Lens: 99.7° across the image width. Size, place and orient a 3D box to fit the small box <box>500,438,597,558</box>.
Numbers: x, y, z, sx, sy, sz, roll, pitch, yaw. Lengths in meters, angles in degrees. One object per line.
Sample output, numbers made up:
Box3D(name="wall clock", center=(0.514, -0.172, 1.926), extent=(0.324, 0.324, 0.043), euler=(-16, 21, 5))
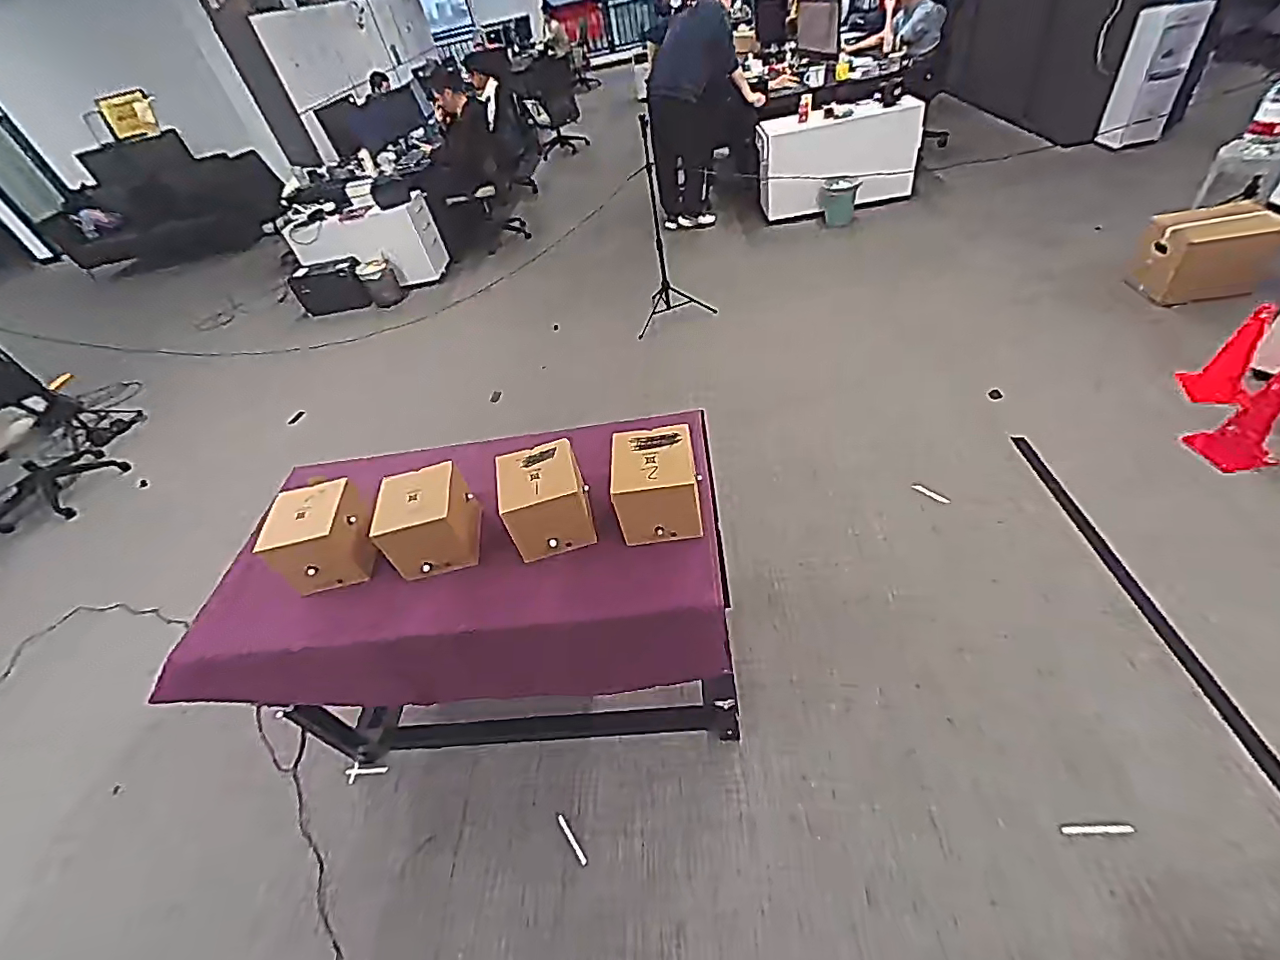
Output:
Box3D(name="small box", center=(-0.199, 0.040, 1.186), extent=(0.168, 0.176, 0.179), euler=(-16, 45, -2))

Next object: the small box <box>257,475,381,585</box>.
Box3D(name="small box", center=(-0.712, 0.120, 1.230), extent=(0.168, 0.176, 0.179), euler=(-12, 44, 1))

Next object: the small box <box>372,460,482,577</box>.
Box3D(name="small box", center=(-0.462, 0.086, 1.206), extent=(0.168, 0.176, 0.179), euler=(-14, 44, 1))
